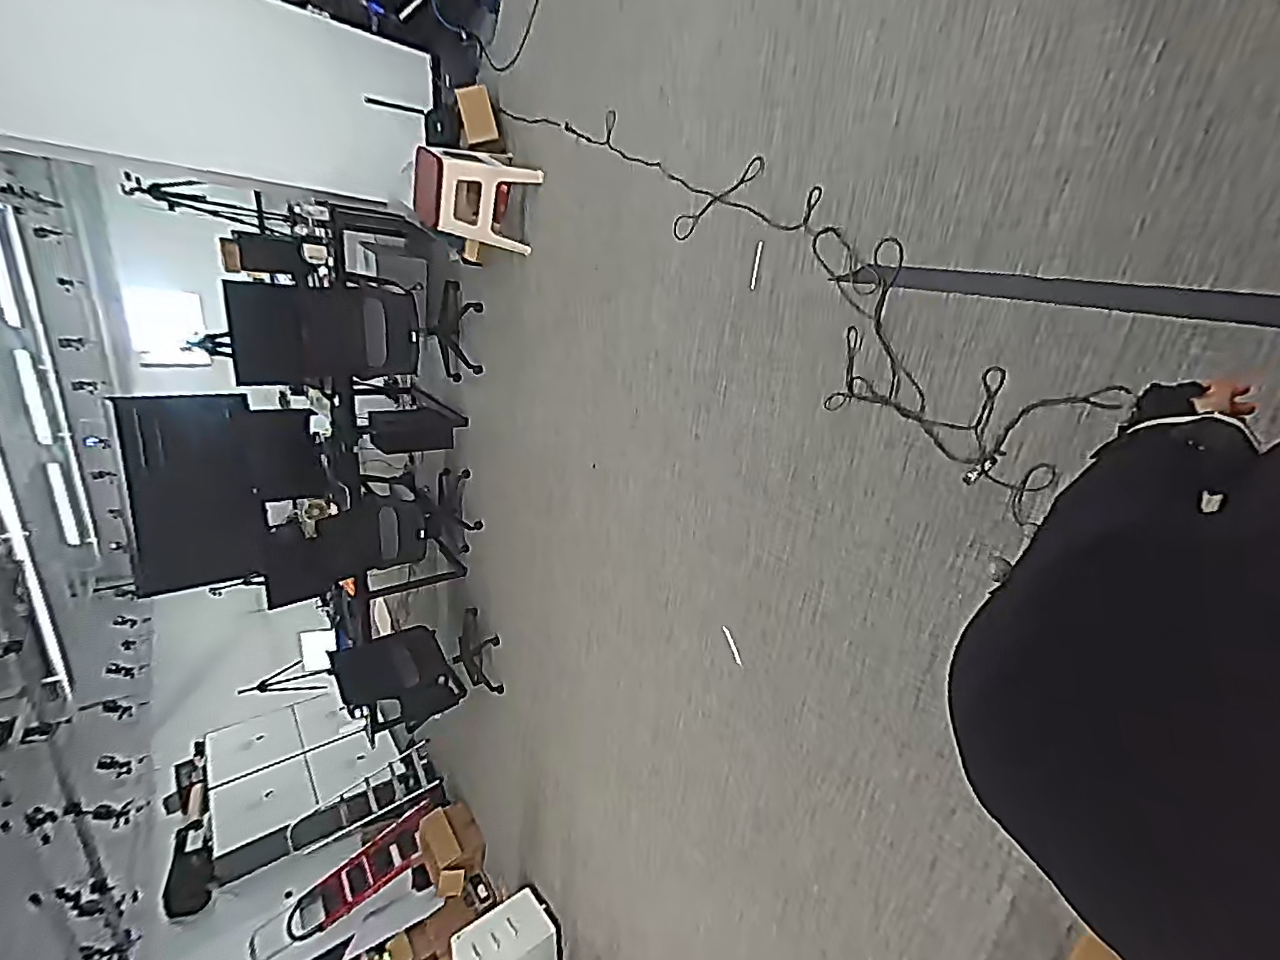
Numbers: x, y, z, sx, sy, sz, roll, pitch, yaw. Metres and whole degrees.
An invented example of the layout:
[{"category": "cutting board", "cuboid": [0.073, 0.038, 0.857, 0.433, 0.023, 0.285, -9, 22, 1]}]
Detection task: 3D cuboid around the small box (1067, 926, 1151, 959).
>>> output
[{"category": "small box", "cuboid": [1.028, 1.120, 1.164, 0.179, 0.176, 0.168, 26, 118, 45]}]
